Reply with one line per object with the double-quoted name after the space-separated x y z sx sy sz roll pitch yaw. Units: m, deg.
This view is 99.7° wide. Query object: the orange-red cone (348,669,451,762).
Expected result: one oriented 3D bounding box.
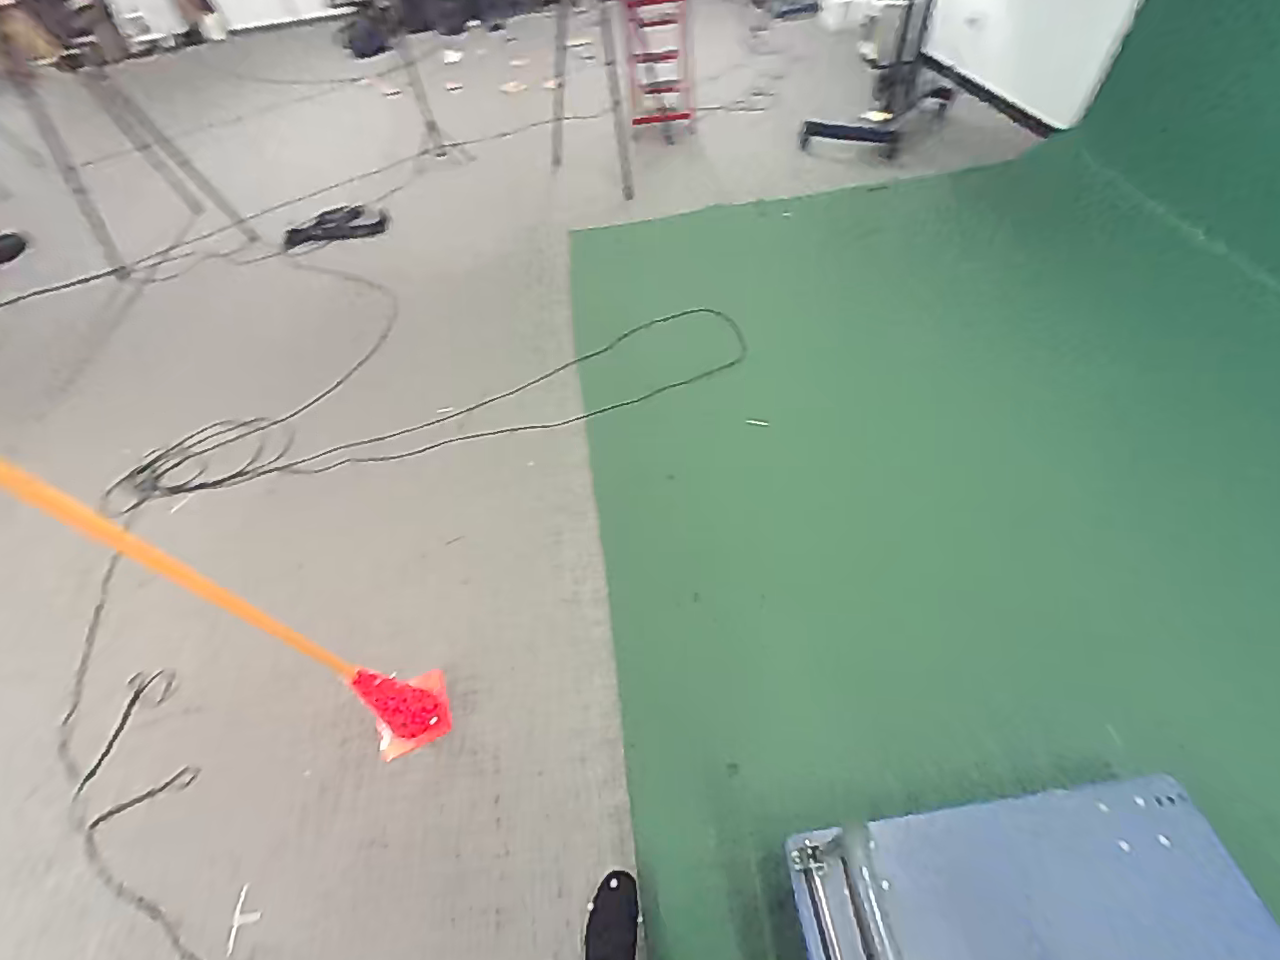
-0.674 0.583 1.442 0.198 0.360 0.199 -21 51 -10 "orange-red cone"
